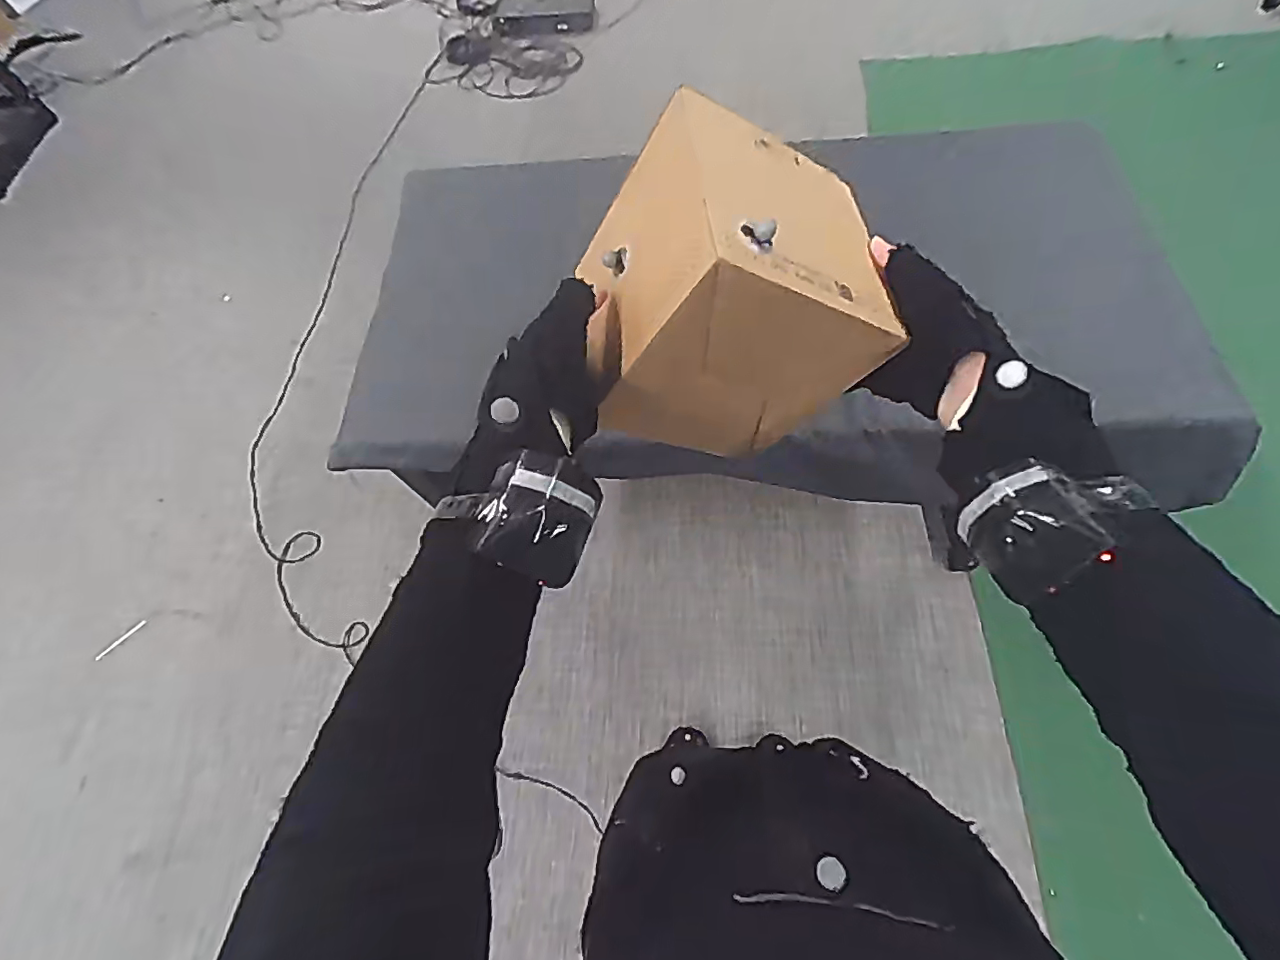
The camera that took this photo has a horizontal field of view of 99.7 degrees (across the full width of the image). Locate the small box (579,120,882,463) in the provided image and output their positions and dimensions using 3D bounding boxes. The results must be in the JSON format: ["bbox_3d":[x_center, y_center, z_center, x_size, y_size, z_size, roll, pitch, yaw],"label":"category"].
[{"bbox_3d":[0.062,-0.134,0.444,0.168,0.179,0.176,11,57,-28],"label":"small box"}]
